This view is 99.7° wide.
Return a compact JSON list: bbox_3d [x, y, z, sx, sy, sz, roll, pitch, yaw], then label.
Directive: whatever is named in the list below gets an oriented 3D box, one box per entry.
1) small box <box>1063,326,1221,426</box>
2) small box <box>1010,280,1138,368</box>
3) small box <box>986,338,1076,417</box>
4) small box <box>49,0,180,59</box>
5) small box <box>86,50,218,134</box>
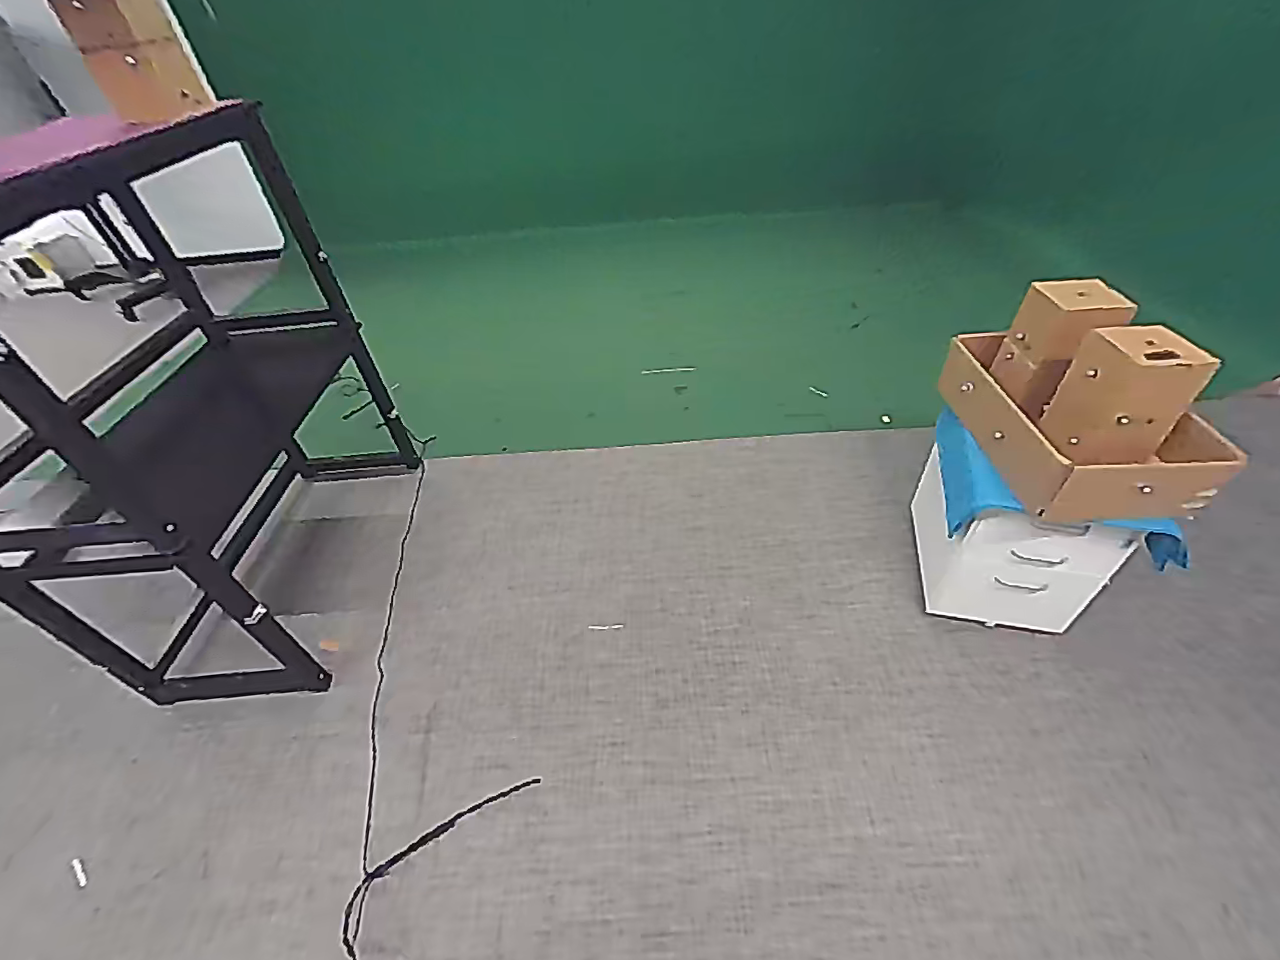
[{"bbox_3d":[1.132,-0.233,1.238,0.168,0.176,0.179,-2,41,2],"label":"small box"},{"bbox_3d":[1.138,-0.412,1.435,0.179,0.176,0.168,-2,43,2],"label":"small box"},{"bbox_3d":[1.140,-0.292,1.545,0.179,0.176,0.168,-2,43,2],"label":"small box"},{"bbox_3d":[-1.345,-1.191,1.383,0.168,0.176,0.179,-4,43,1],"label":"small box"},{"bbox_3d":[-1.339,-1.074,1.499,0.179,0.176,0.168,-4,43,2],"label":"small box"}]
